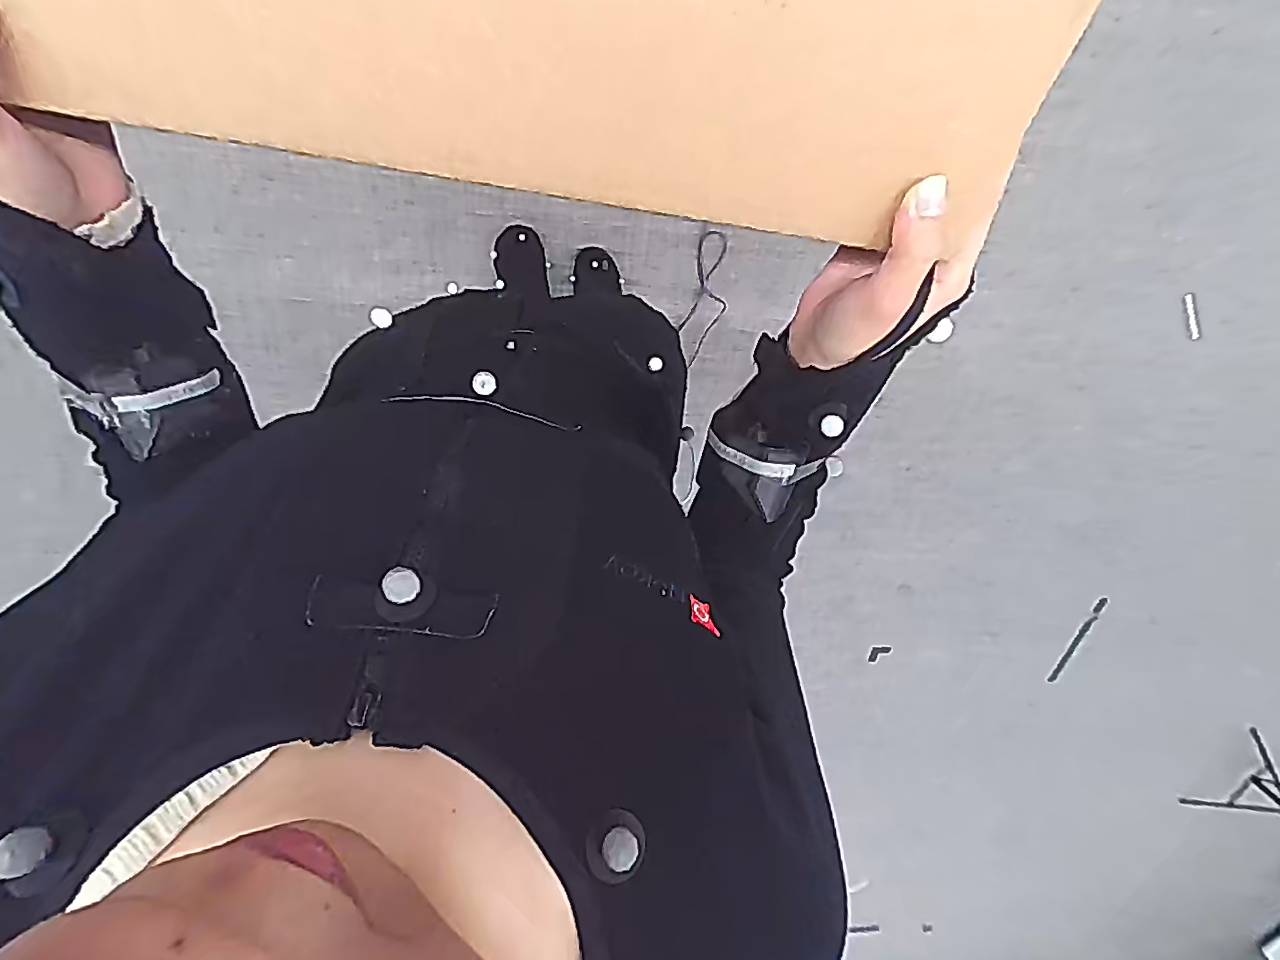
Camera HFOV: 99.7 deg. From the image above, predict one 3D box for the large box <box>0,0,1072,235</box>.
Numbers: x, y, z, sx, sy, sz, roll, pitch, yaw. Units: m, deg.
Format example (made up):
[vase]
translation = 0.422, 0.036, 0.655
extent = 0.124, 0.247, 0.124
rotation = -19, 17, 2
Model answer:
[large box]
translation = -0.037, -0.340, 0.236
extent = 0.408, 0.320, 0.320
rotation = 5, 133, -7
